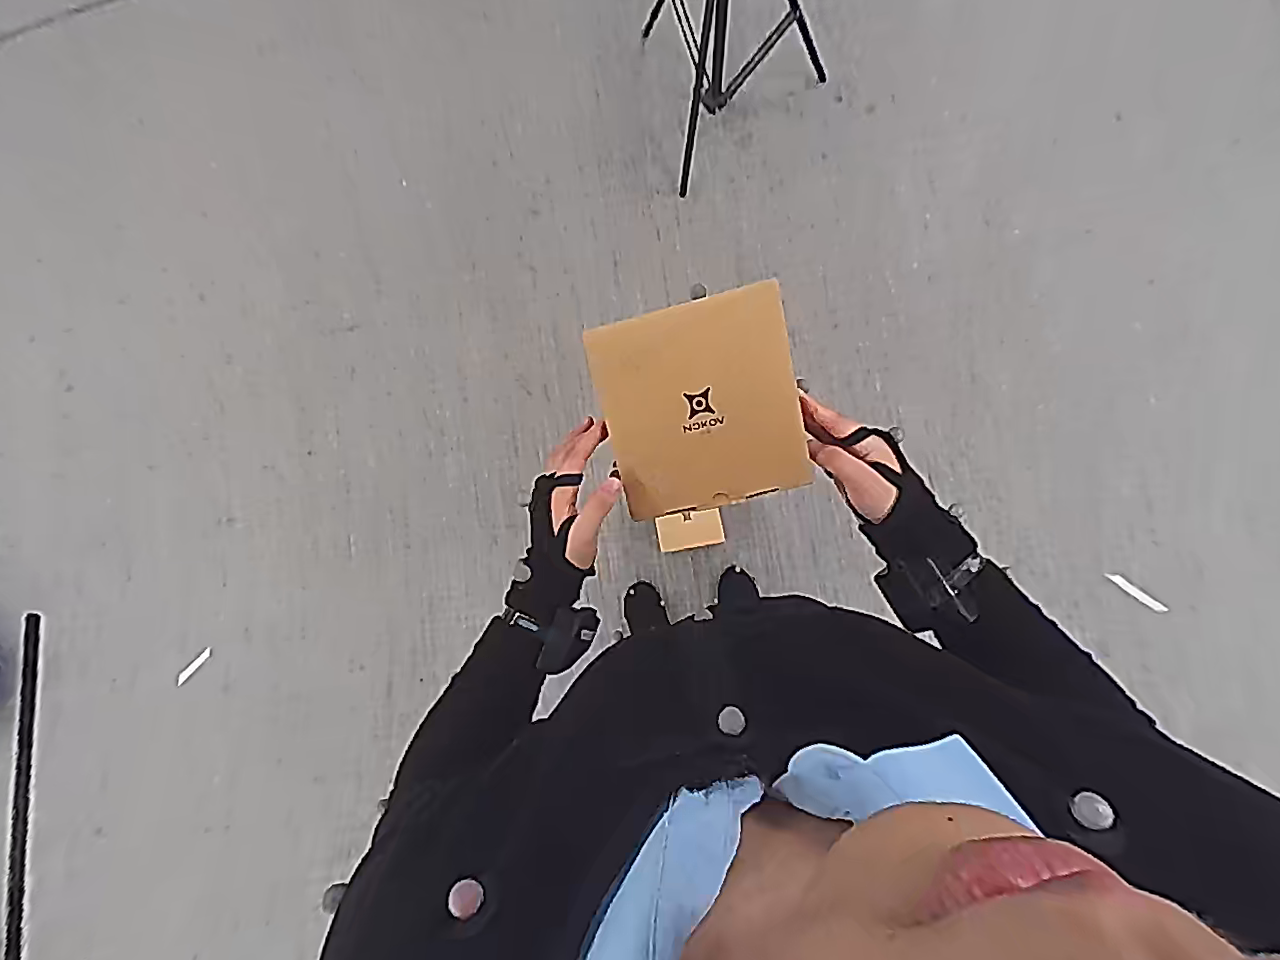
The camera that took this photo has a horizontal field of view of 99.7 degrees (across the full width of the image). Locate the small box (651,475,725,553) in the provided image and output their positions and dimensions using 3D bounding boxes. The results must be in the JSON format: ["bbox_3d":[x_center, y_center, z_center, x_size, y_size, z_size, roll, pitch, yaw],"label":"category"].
[{"bbox_3d":[0.129,0.097,1.443,0.168,0.176,0.179,-10,80,3],"label":"small box"}]
